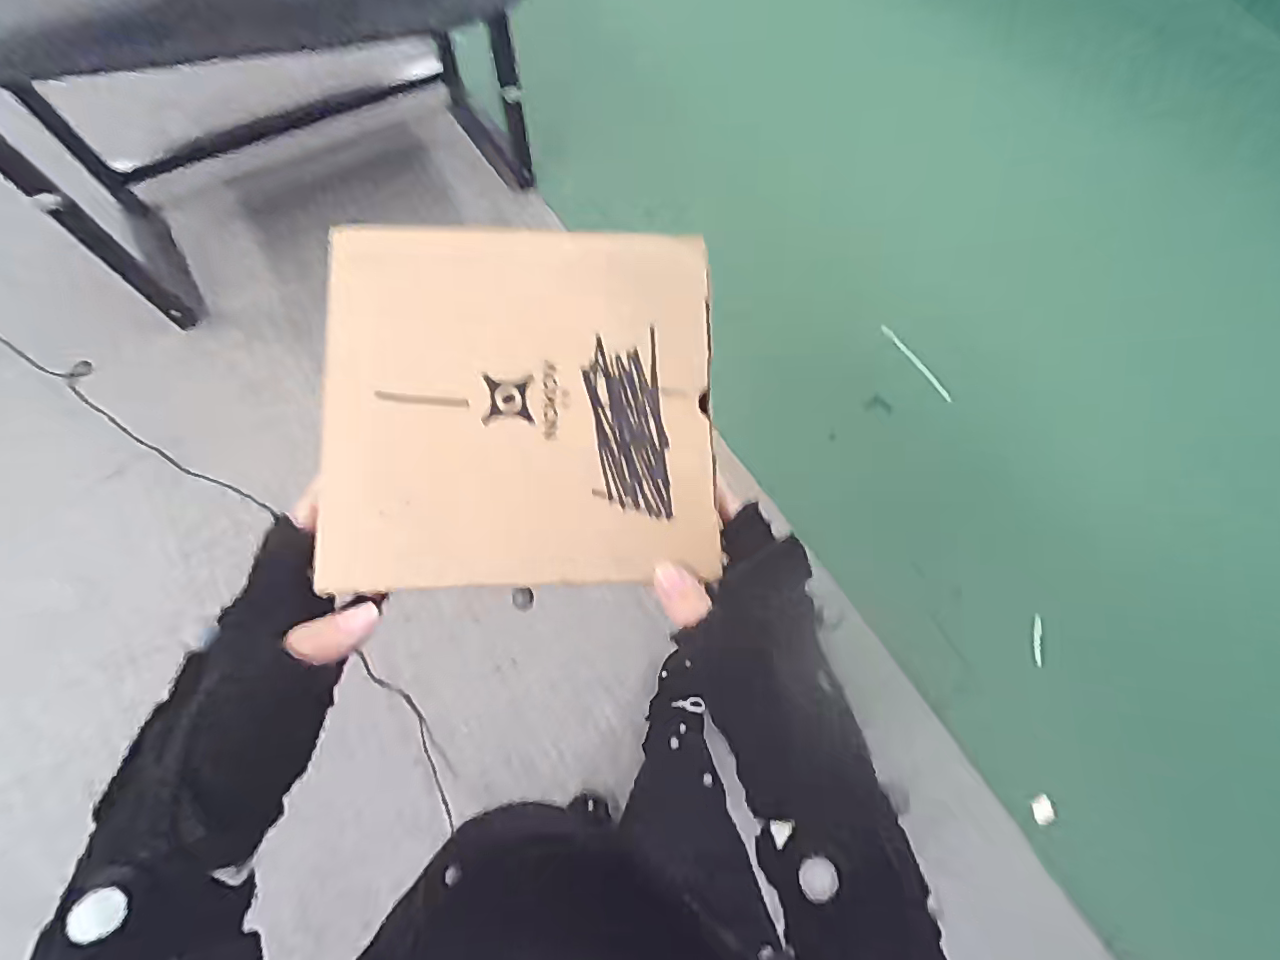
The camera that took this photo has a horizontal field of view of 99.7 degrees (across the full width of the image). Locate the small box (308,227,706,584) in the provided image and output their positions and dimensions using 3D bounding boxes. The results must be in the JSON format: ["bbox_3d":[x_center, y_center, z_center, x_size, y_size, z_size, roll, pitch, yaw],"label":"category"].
[{"bbox_3d":[-0.065,-0.025,0.329,0.179,0.176,0.168,0,81,-6],"label":"small box"}]
